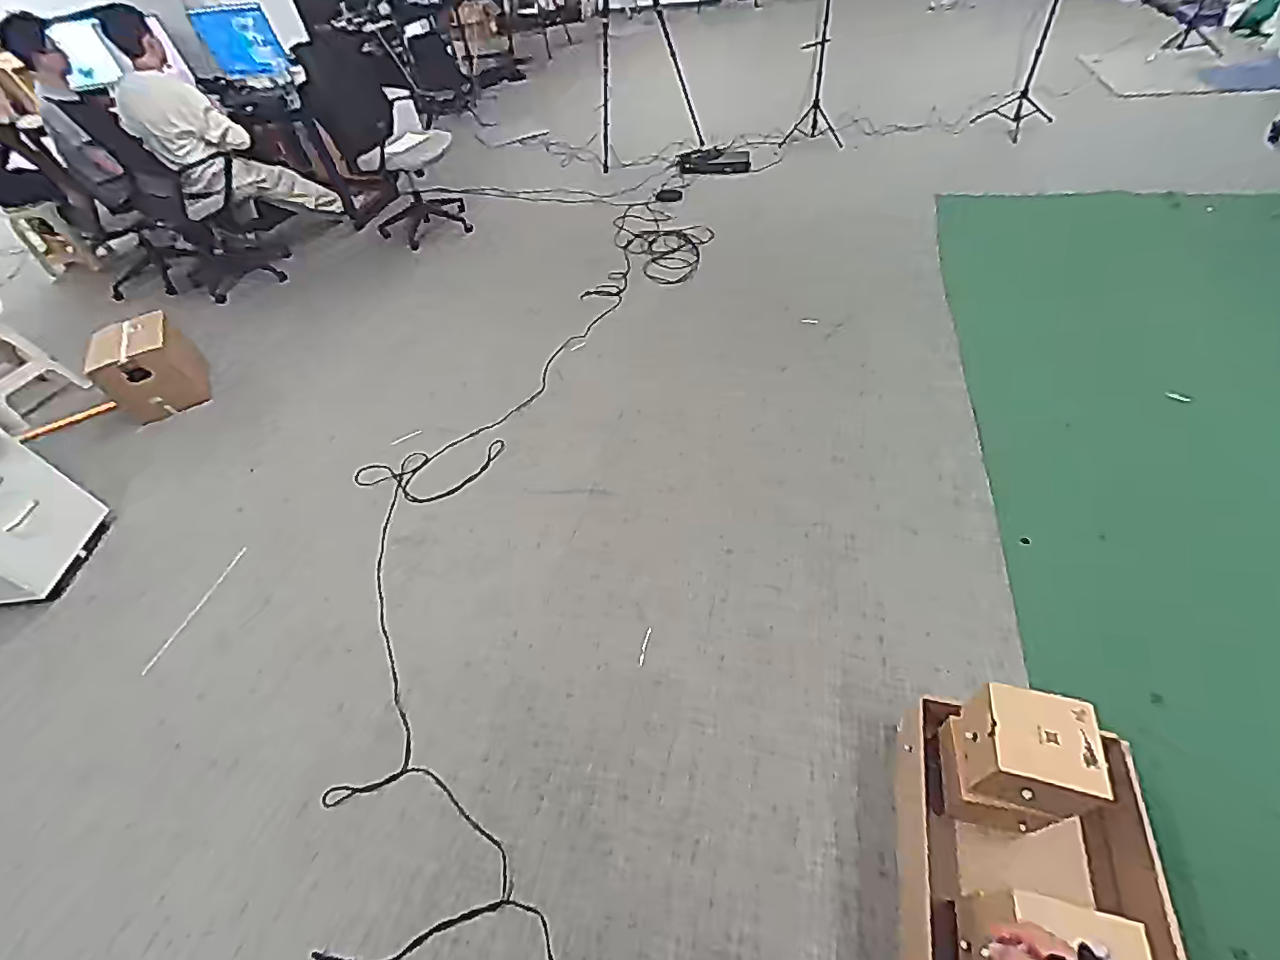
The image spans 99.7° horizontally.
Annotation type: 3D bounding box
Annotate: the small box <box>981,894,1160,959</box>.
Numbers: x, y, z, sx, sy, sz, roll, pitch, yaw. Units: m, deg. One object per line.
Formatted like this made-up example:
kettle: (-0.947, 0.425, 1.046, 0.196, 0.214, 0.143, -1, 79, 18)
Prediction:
small box: (0.649, 0.757, 0.817, 0.179, 0.176, 0.168, 7, 49, 16)

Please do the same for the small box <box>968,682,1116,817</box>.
small box: (0.738, 0.511, 1.020, 0.179, 0.176, 0.168, 8, 51, 17)
